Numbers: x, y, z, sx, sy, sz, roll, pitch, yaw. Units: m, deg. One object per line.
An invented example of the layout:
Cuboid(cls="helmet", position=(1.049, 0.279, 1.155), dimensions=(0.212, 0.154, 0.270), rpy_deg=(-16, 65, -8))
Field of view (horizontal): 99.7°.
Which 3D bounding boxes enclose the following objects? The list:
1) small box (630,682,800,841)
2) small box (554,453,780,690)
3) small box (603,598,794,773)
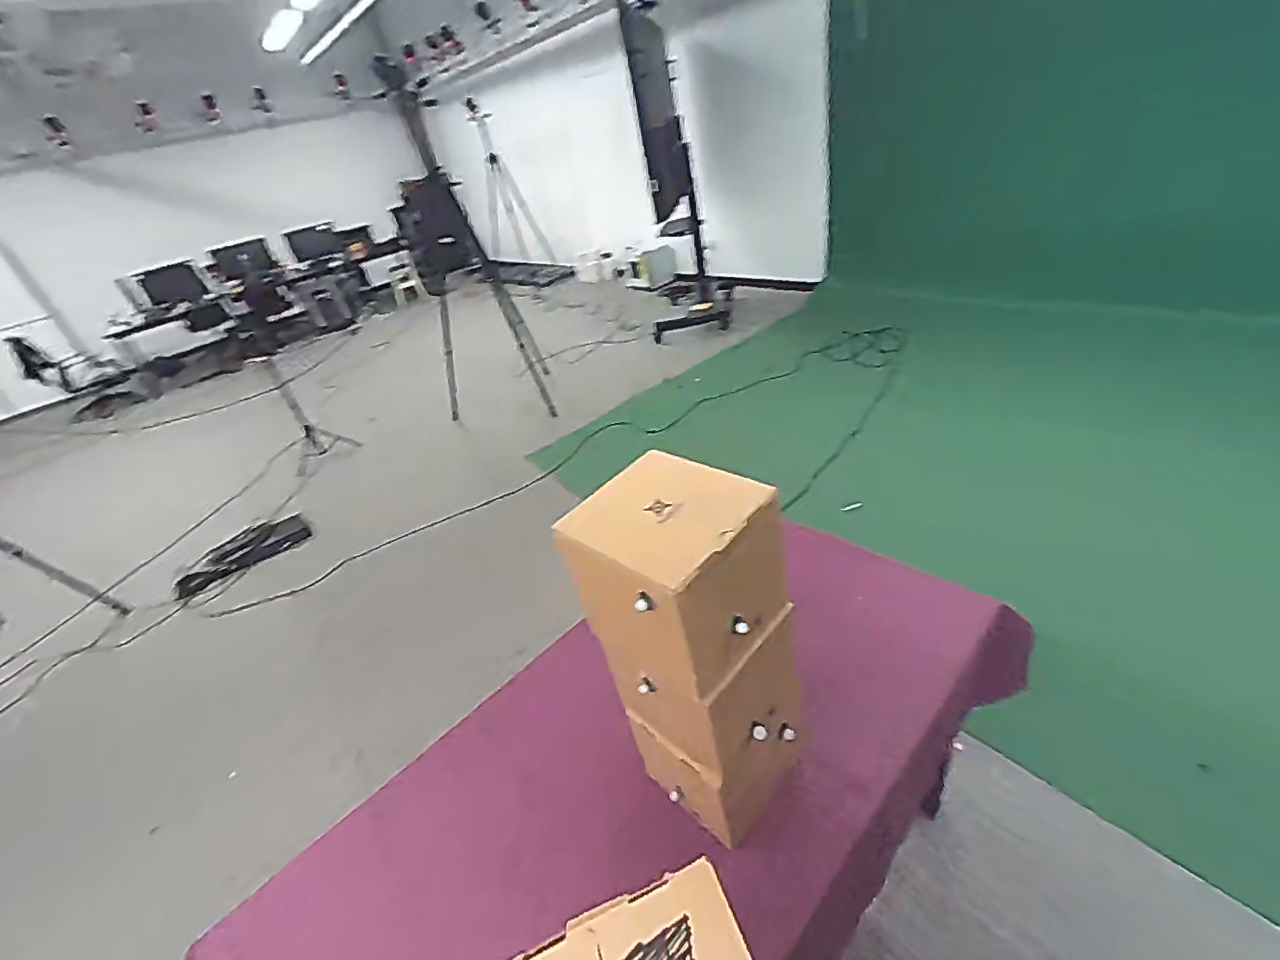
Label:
Cuboid(cls="small box", position=(0.113, 0.360, 0.778), dimensions=(0.179, 0.176, 0.168), rpy_deg=(-36, 39, -30))
Cuboid(cls="small box", position=(0.037, 0.097, 0.603), dimensions=(0.179, 0.176, 0.168), rpy_deg=(20, 47, 39))
Cuboid(cls="small box", position=(0.077, 0.228, 0.690), dimensions=(0.179, 0.176, 0.168), rpy_deg=(22, 49, 41))
